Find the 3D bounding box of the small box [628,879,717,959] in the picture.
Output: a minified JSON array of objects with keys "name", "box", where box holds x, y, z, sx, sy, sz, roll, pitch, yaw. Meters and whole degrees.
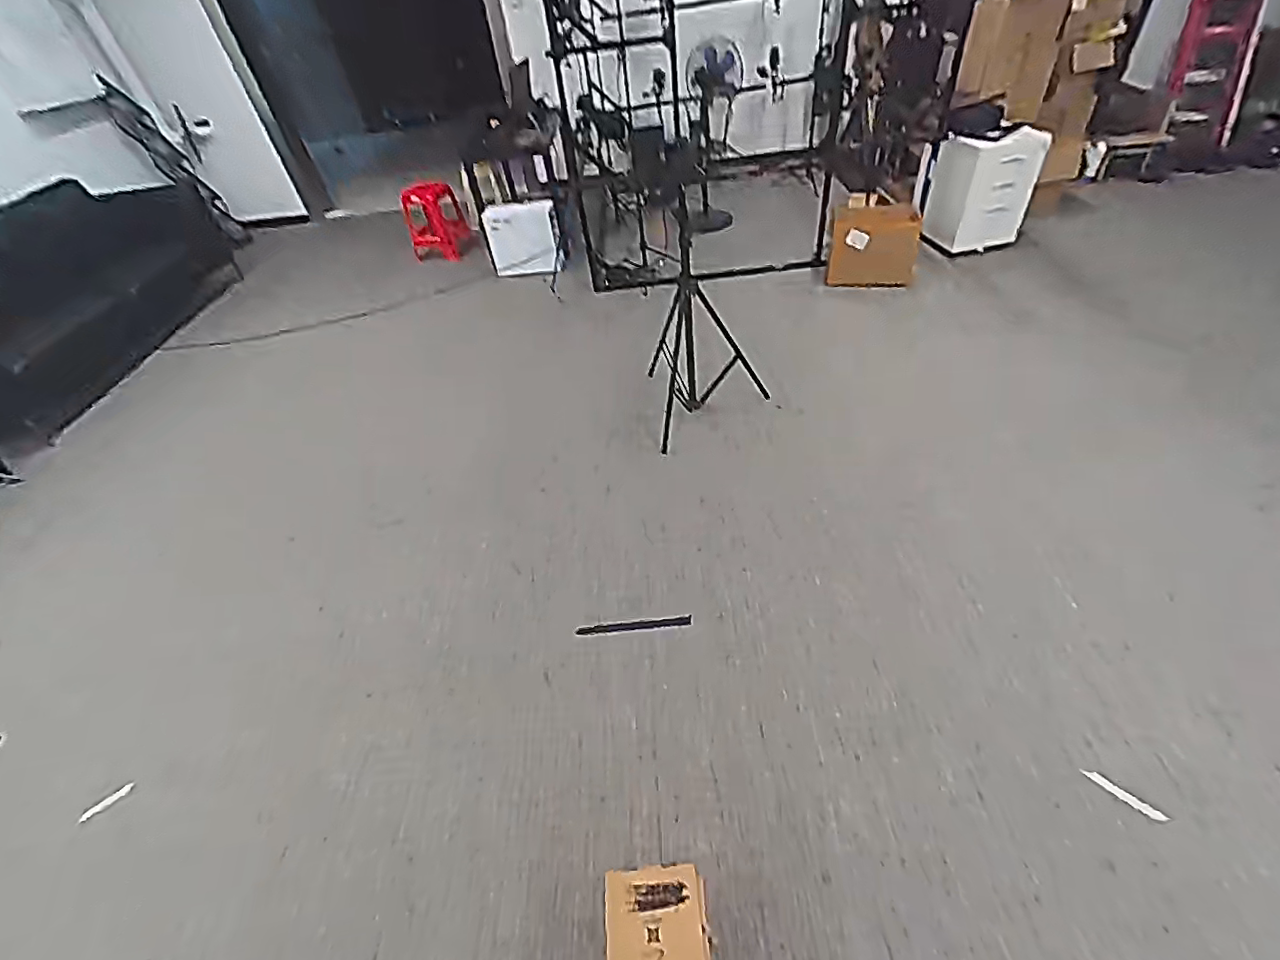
[{"name":"small box","box":[0.066,0.930,1.085,0.168,0.176,0.179,-7,44,2]}]
